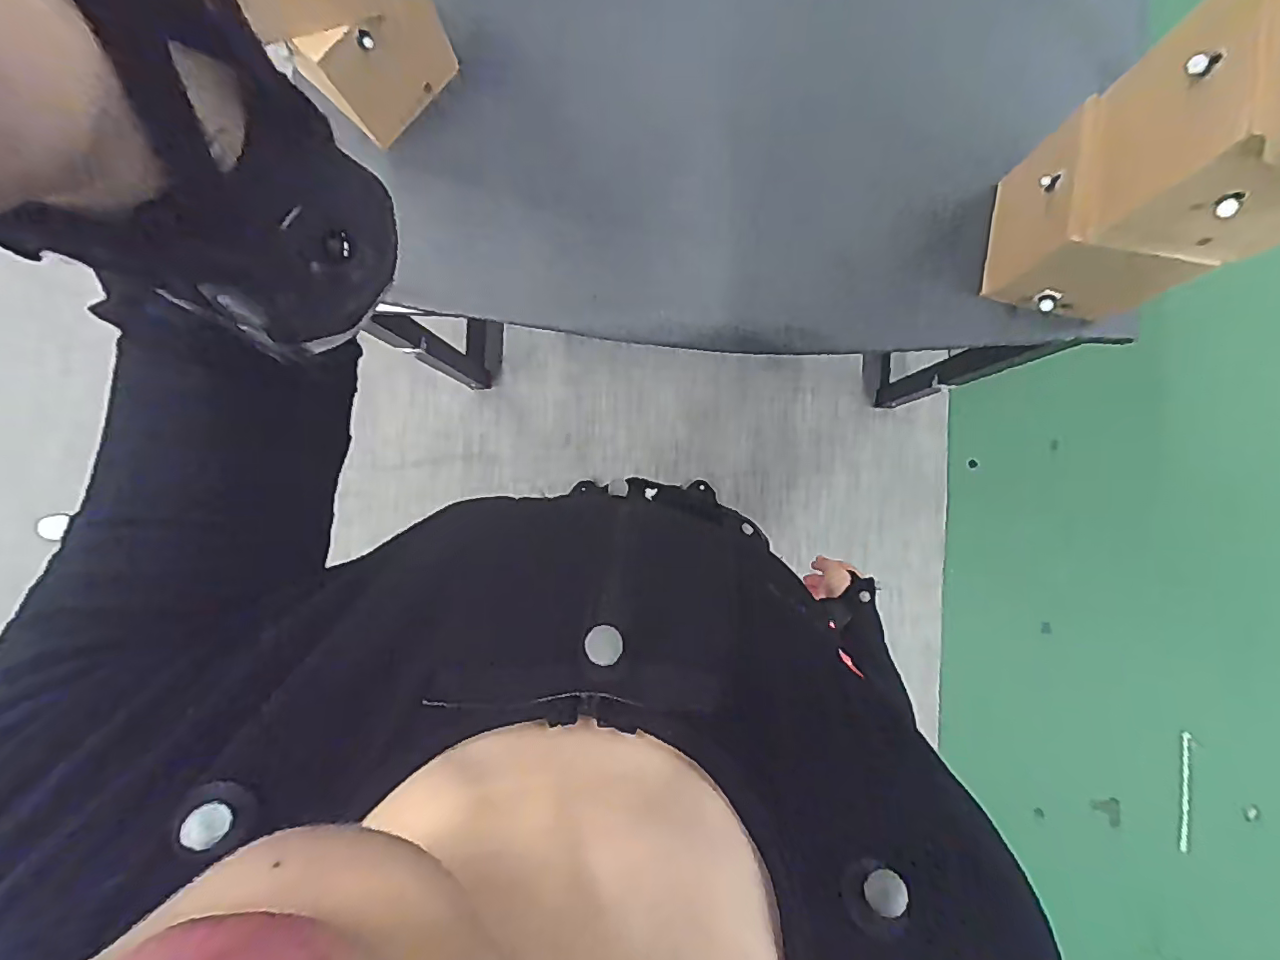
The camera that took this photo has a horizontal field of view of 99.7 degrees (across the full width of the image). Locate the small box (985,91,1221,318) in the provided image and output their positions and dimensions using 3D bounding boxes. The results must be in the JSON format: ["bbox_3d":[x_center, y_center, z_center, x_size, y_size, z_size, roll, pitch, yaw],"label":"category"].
[{"bbox_3d":[0.565,-0.326,0.671,0.168,0.176,0.179,12,87,3],"label":"small box"}]

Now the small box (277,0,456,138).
[{"bbox_3d":[-0.377,-0.599,0.700,0.179,0.176,0.168,43,91,1],"label":"small box"}]

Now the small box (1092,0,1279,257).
[{"bbox_3d":[0.575,-0.336,0.509,0.168,0.176,0.179,10,85,3],"label":"small box"}]

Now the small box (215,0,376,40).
[{"bbox_3d":[-0.380,-0.596,0.535,0.179,0.176,0.168,-15,90,1],"label":"small box"}]
